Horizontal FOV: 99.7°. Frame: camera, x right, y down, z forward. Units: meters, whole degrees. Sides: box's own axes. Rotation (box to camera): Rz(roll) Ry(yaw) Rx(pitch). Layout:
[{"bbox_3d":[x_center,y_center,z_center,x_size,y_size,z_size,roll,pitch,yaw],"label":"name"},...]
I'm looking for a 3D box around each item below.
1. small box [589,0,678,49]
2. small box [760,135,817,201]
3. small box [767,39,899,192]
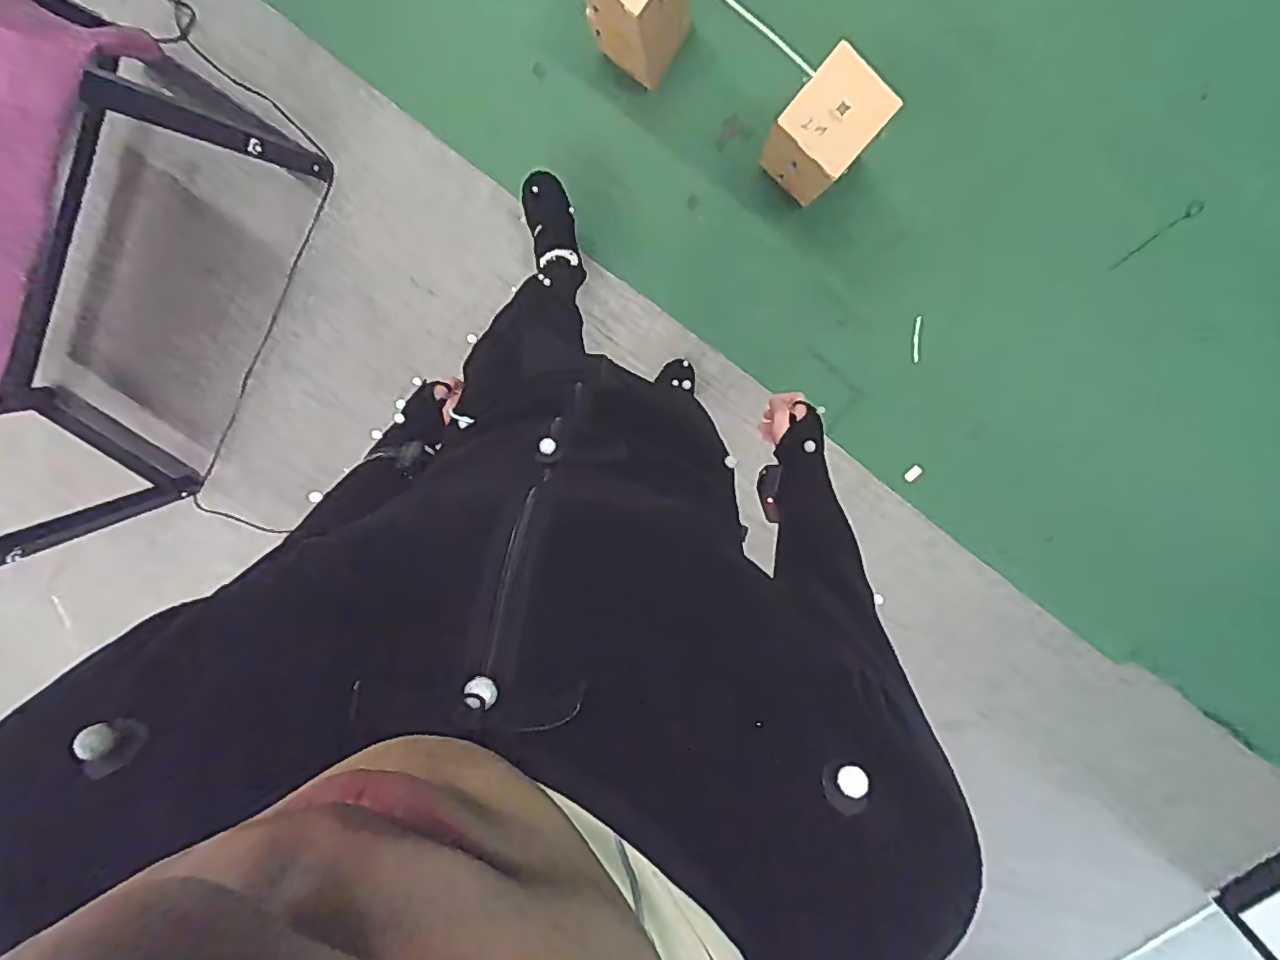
[{"bbox_3d":[-0.013,-1.009,1.060,0.168,0.176,0.179,39,106,-7],"label":"small box"},{"bbox_3d":[0.398,-0.788,1.263,0.168,0.176,0.179,39,108,-8],"label":"small box"},{"bbox_3d":[0.382,-0.731,1.109,0.168,0.176,0.179,41,108,-8],"label":"small box"}]
